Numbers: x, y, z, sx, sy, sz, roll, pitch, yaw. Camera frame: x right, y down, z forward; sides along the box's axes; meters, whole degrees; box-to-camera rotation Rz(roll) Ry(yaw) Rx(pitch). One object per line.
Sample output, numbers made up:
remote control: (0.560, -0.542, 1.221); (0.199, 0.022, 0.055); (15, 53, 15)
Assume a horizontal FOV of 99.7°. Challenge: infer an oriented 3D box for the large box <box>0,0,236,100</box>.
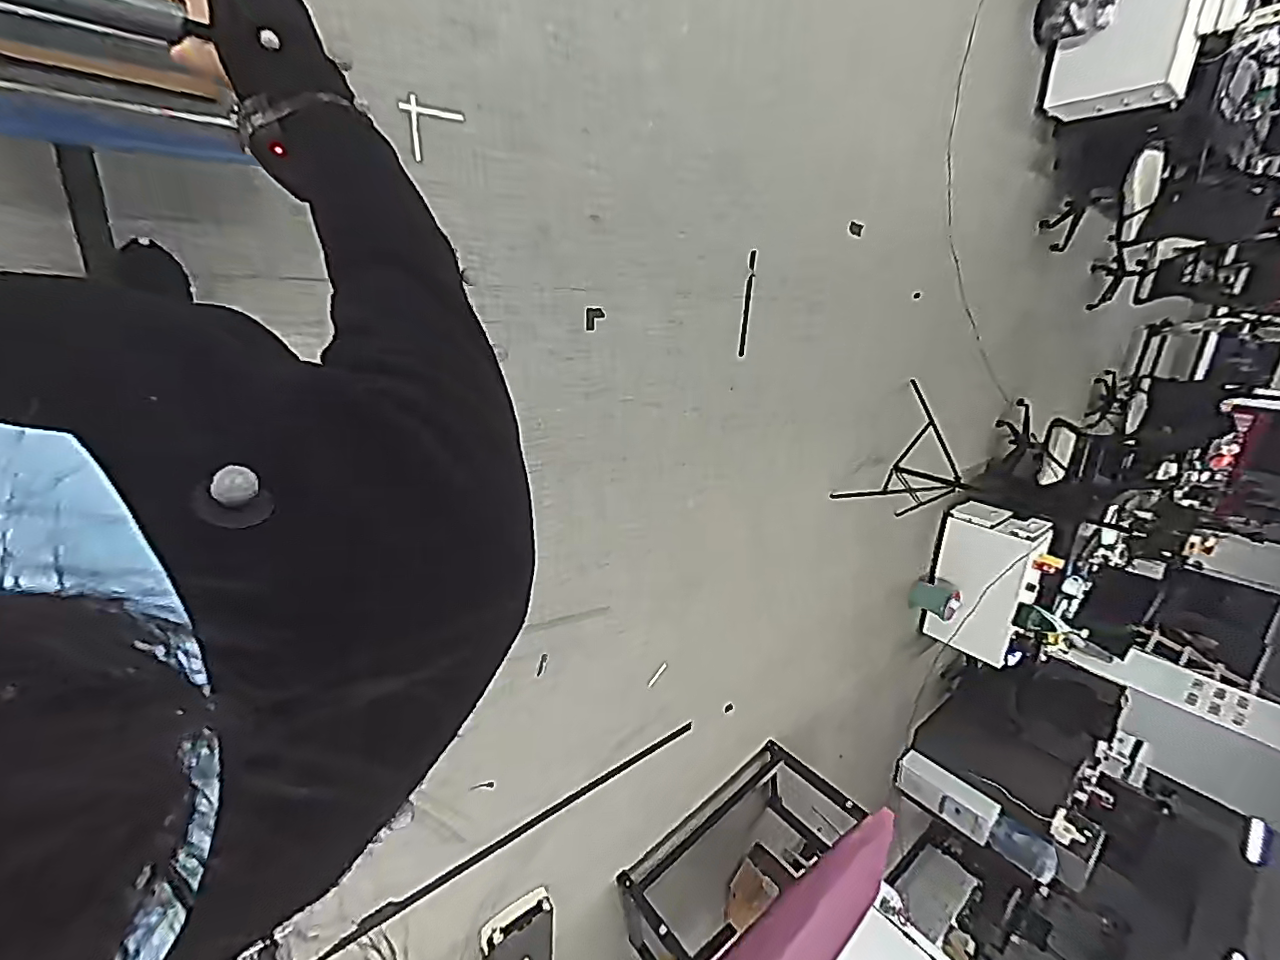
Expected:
large box: (-0.774, -0.713, 0.646); (0.408, 0.320, 0.320); (-13, 115, -38)
